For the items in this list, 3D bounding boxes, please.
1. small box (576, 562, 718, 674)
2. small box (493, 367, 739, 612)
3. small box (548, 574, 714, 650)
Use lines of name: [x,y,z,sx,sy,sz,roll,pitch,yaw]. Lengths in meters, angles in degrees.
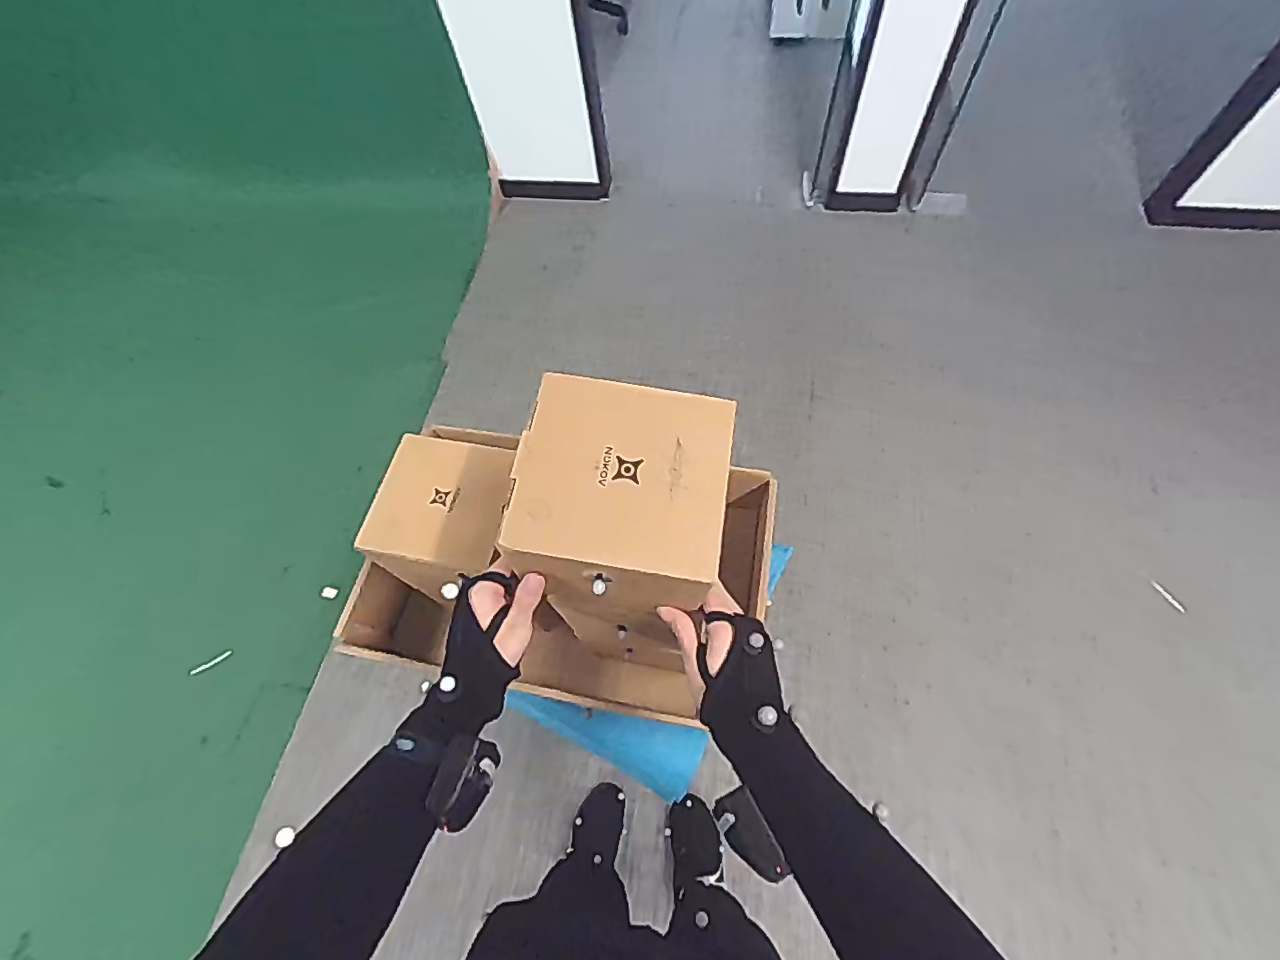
small box: [0.021,0.188,0.827,0.179,0.176,0.168,8,63,11]
small box: [-0.016,0.020,0.511,0.179,0.176,0.168,10,67,3]
small box: [0.006,0.108,0.685,0.179,0.176,0.168,7,62,11]
